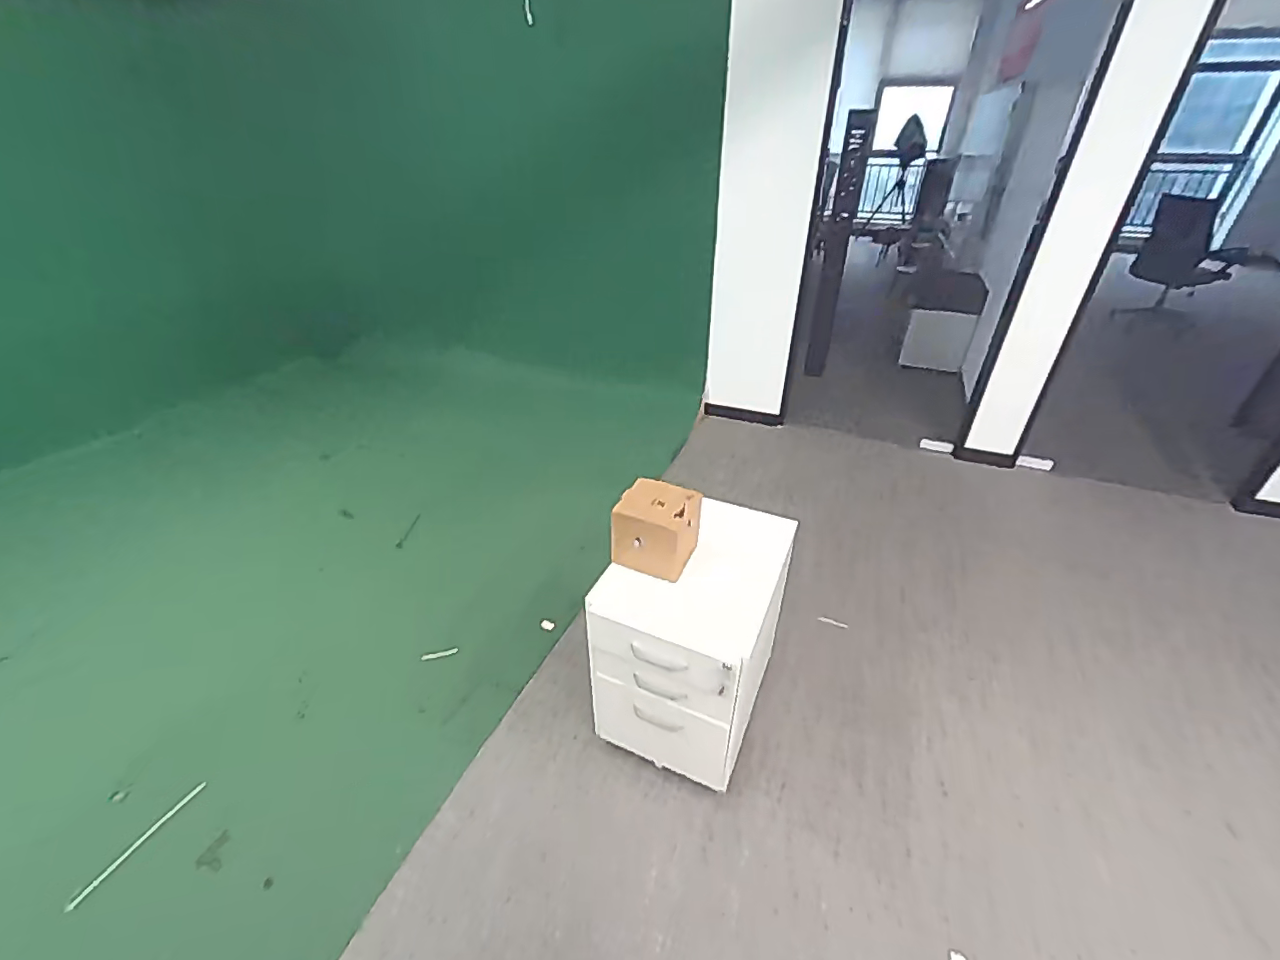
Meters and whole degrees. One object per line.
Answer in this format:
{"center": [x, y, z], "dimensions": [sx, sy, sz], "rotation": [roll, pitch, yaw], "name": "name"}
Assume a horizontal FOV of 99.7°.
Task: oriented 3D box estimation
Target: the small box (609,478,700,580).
{"center": [0.037, 0.122, 1.346], "dimensions": [0.179, 0.176, 0.168], "rotation": [15, 37, 20], "name": "small box"}
